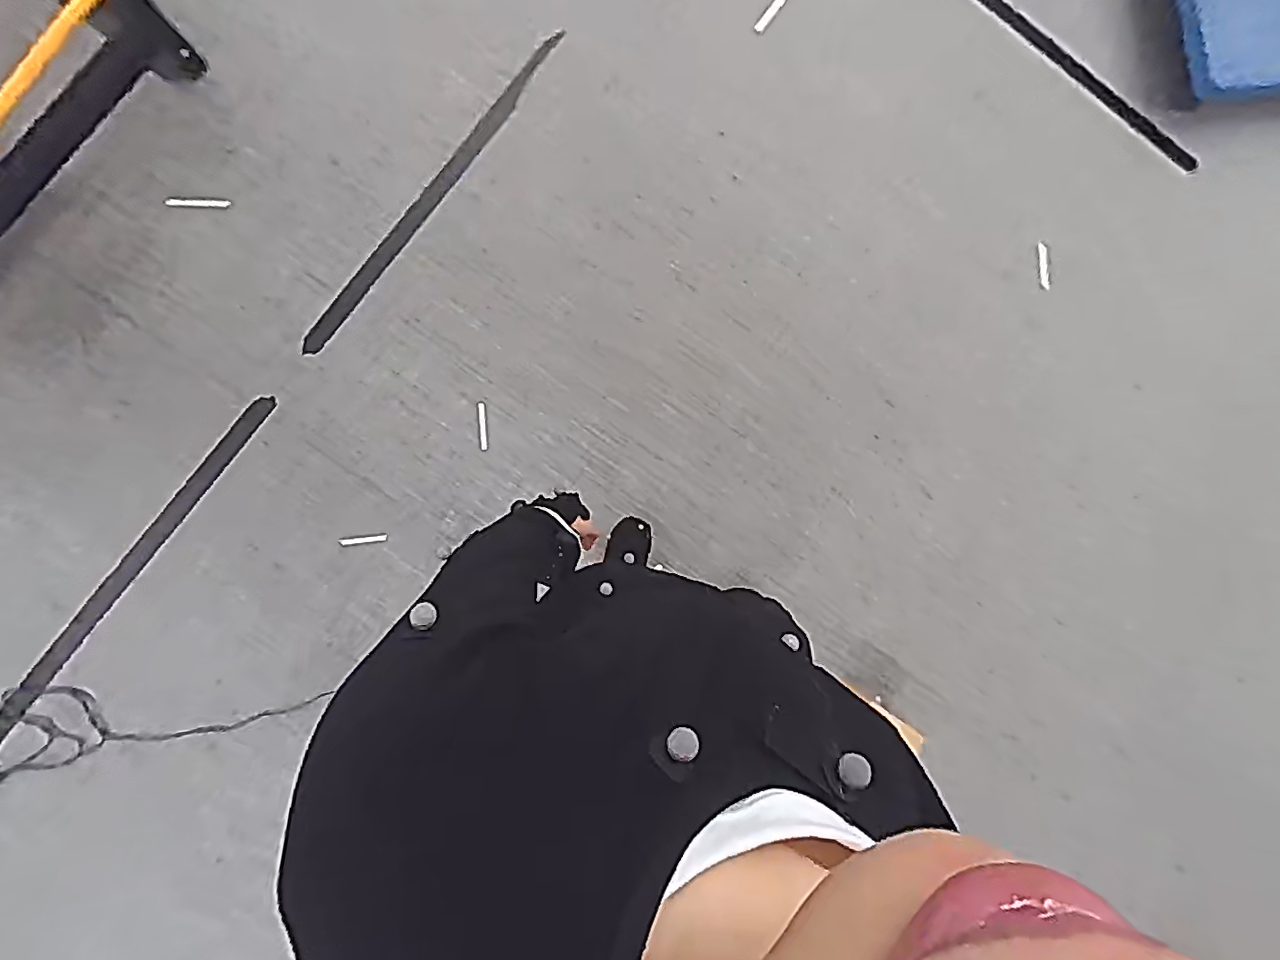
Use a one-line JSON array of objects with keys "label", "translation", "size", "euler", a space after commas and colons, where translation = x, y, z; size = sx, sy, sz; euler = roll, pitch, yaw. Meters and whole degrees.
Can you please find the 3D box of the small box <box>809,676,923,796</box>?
[{"label": "small box", "translation": [0.547, 0.625, 1.340], "size": [0.168, 0.176, 0.179], "euler": [36, 85, -3]}]
